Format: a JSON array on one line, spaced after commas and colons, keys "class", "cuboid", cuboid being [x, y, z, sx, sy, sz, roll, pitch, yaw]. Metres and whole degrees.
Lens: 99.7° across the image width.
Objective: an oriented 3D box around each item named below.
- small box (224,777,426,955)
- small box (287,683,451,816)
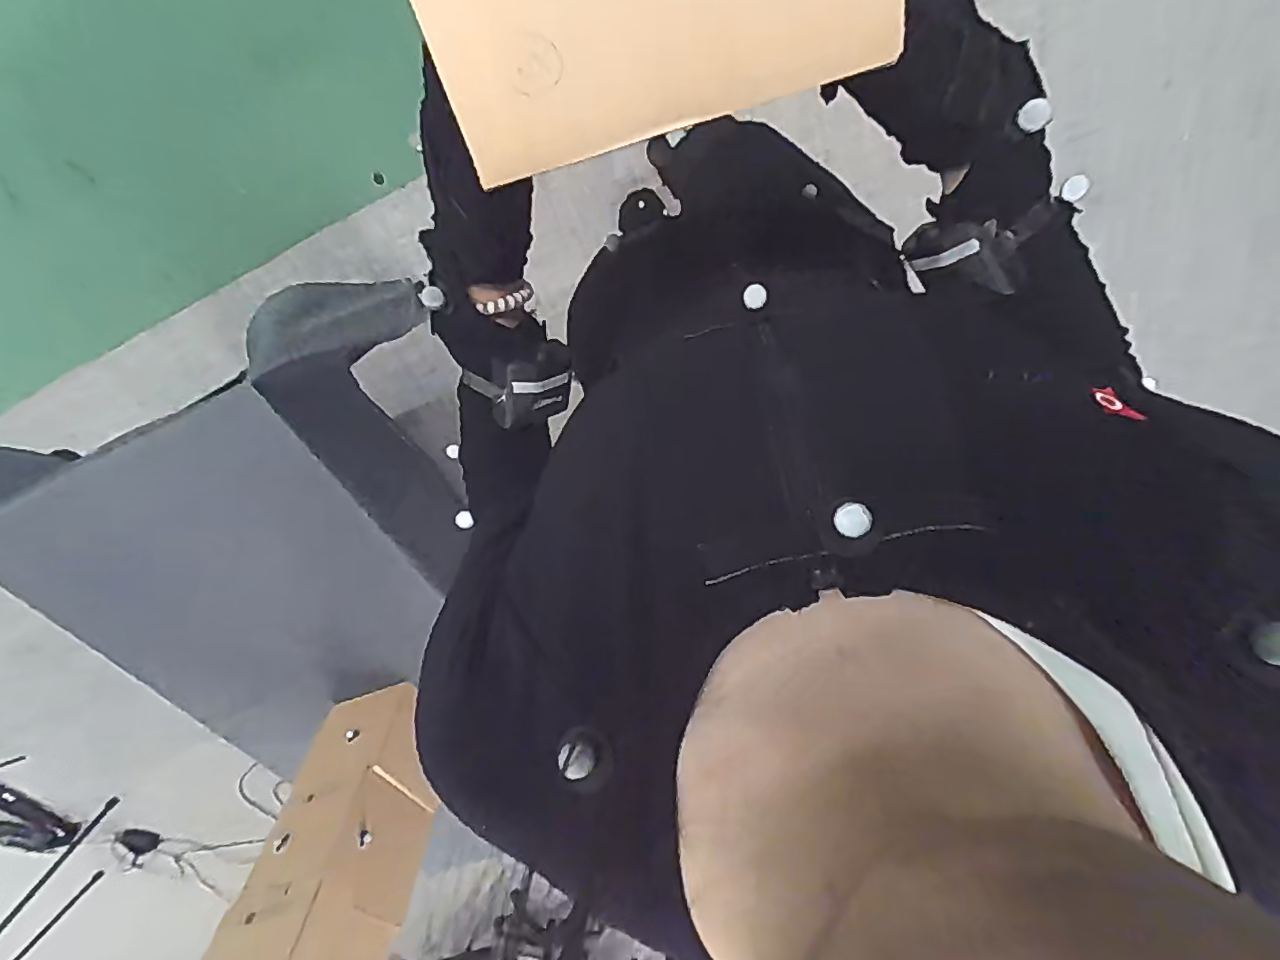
[{"class": "small box", "cuboid": [-0.471, 0.589, 0.840, 0.168, 0.176, 0.179, -22, 119, 12]}, {"class": "small box", "cuboid": [-0.474, 0.501, 0.977, 0.179, 0.176, 0.168, -21, 120, 10]}]
